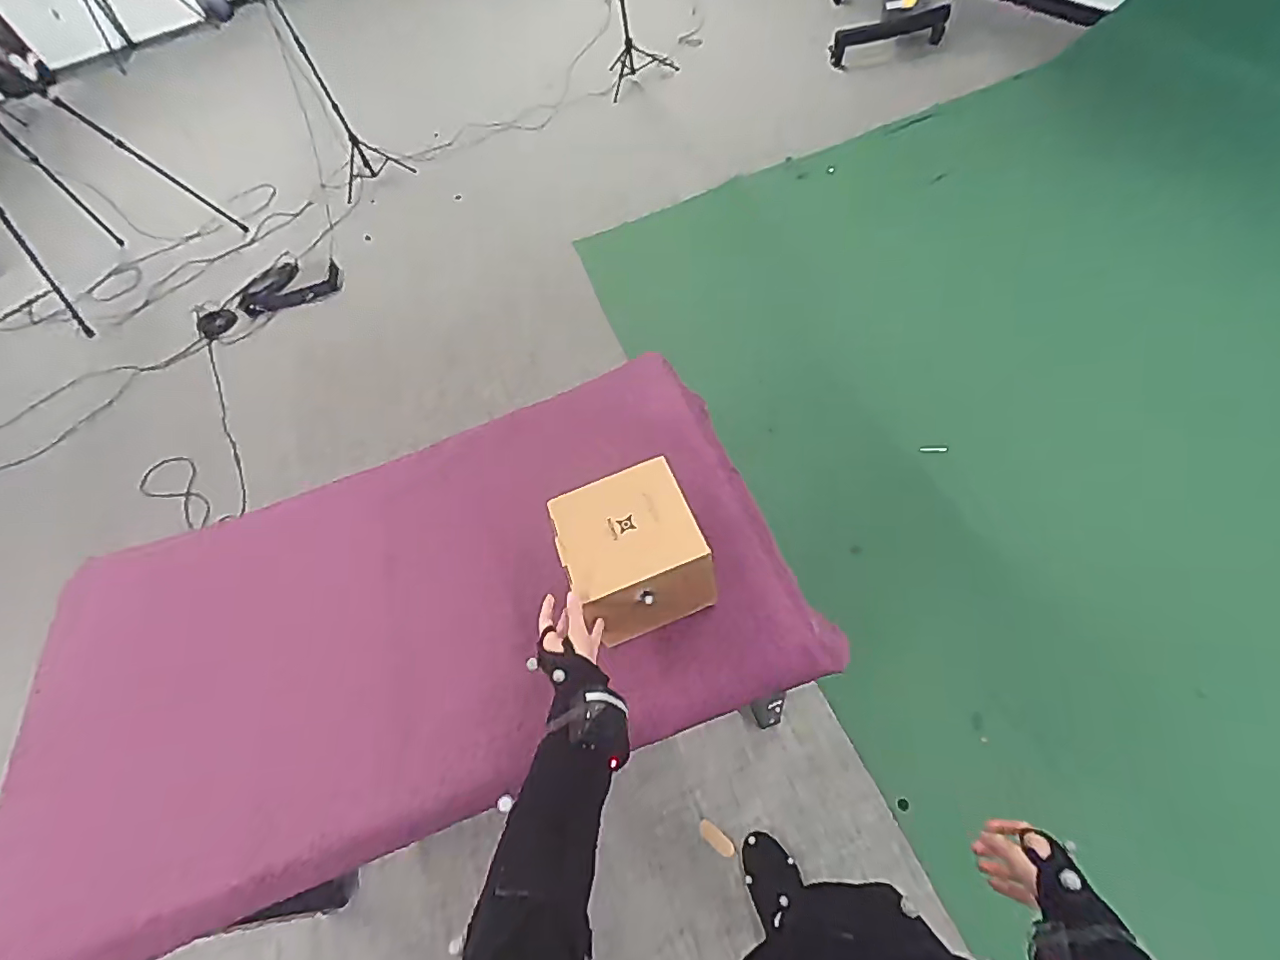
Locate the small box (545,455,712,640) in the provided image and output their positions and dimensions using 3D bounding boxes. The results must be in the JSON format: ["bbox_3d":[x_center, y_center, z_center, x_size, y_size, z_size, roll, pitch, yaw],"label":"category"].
[{"bbox_3d":[-0.011,0.100,0.753,0.179,0.176,0.168,-20,55,-3],"label":"small box"}]
